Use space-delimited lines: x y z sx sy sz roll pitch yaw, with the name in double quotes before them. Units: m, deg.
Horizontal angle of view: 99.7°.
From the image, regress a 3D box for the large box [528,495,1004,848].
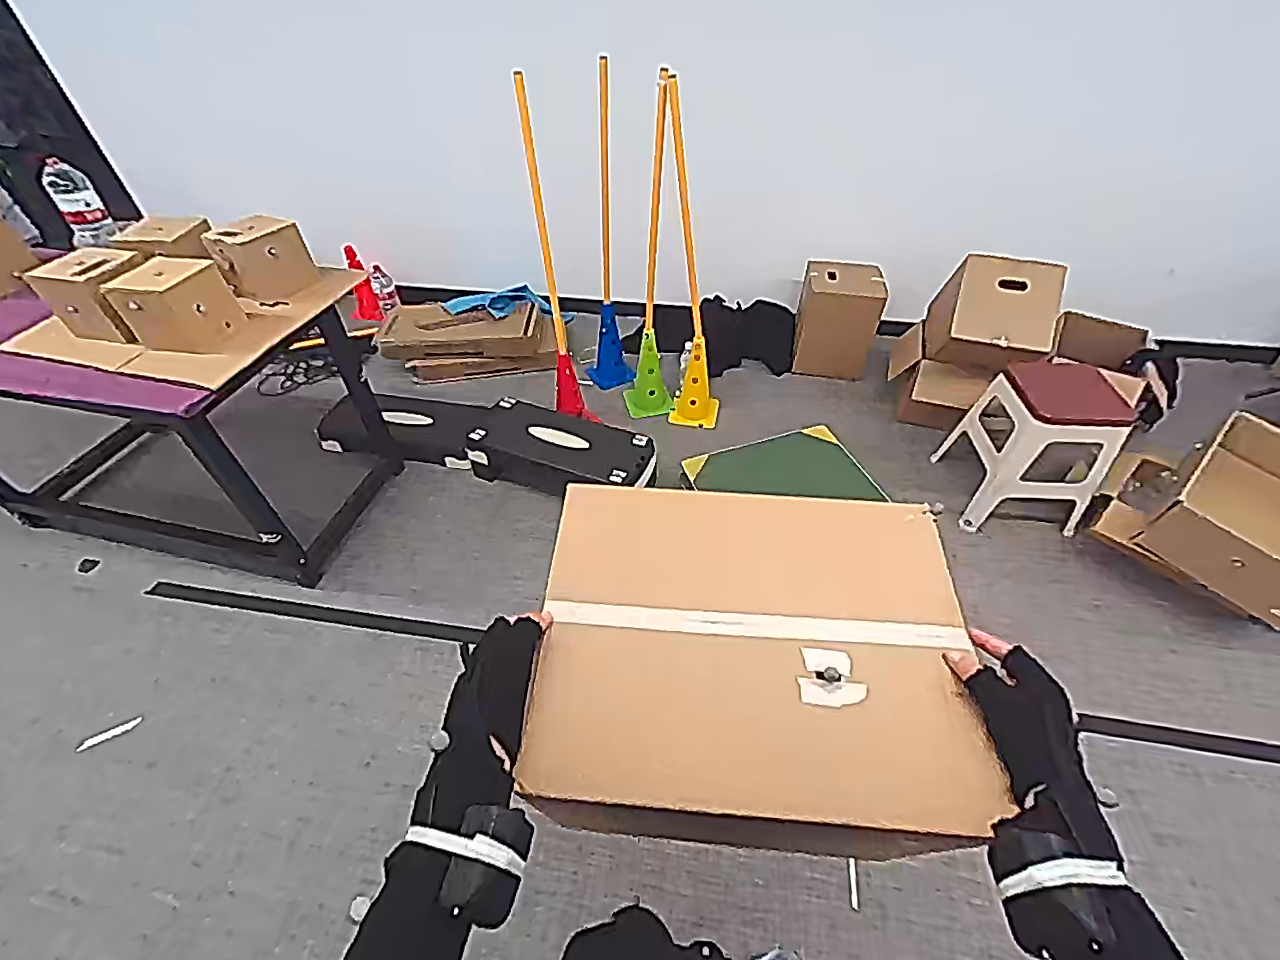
"large box" 0.111 0.237 0.654 0.408 0.320 0.320 3 54 3
